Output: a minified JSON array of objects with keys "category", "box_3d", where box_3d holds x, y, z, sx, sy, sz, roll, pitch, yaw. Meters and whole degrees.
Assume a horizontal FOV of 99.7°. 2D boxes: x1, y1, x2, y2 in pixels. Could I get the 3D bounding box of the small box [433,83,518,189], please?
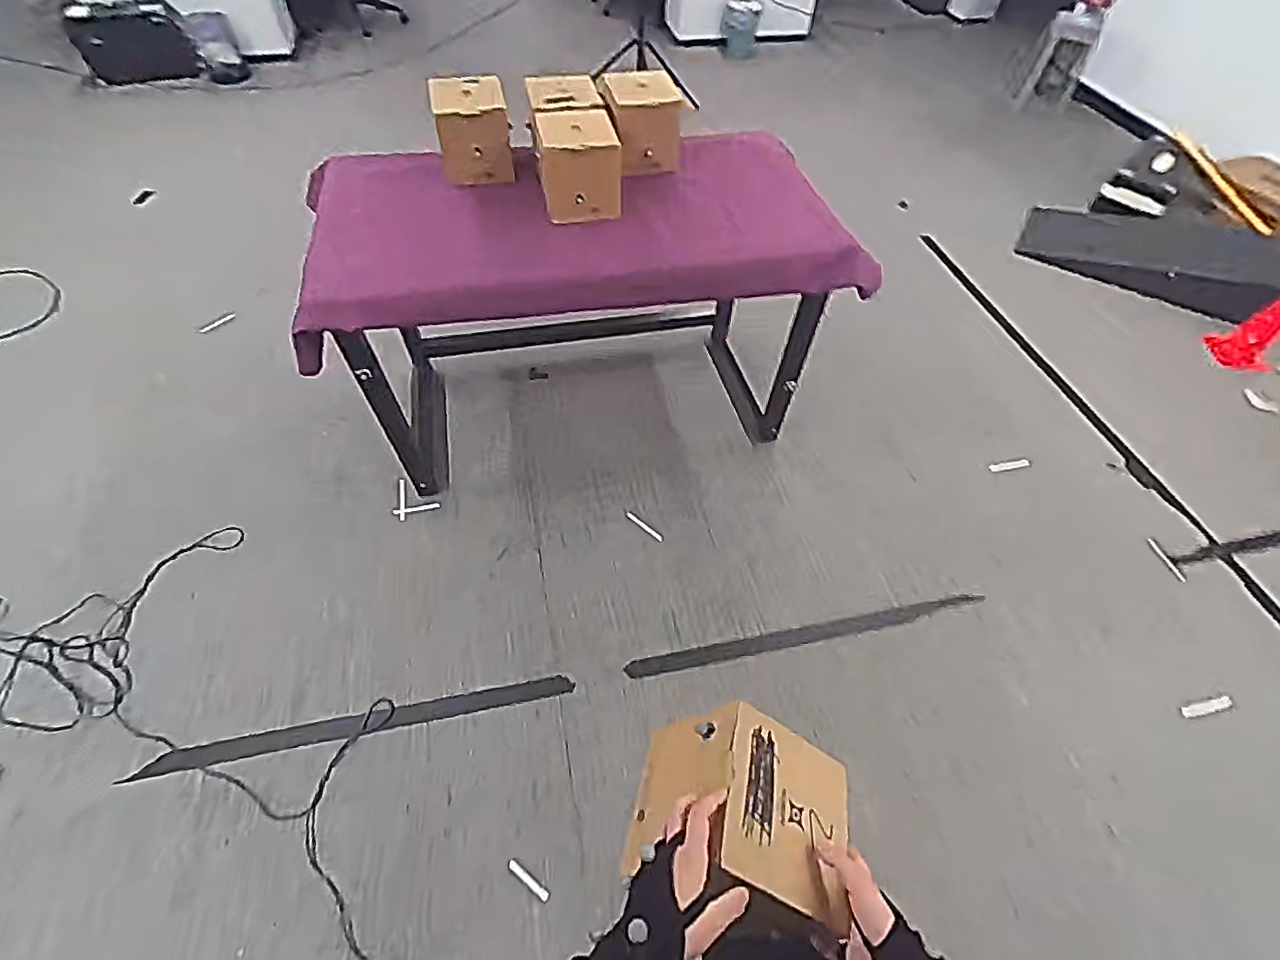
[{"category":"small box","box_3d":[-0.403,-0.843,1.337,0.168,0.176,0.179,-10,59,-9]}]
